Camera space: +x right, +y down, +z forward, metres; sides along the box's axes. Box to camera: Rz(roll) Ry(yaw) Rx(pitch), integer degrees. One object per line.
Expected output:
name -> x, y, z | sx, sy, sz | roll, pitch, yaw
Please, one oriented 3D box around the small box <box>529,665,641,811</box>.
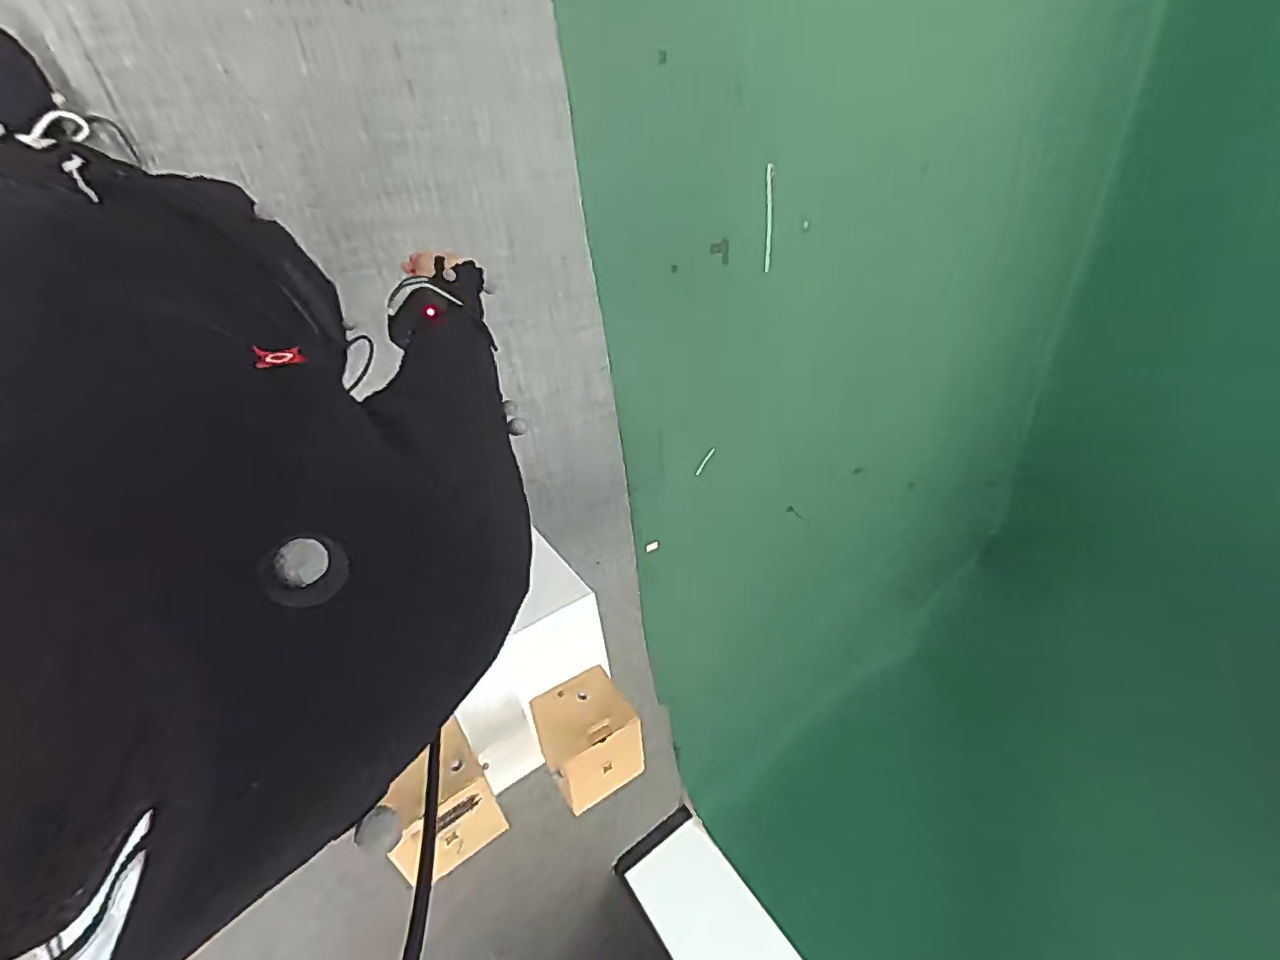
small box -> -0.114, 0.526, 1.123 | 0.168, 0.176, 0.179 | -21, 124, -27
